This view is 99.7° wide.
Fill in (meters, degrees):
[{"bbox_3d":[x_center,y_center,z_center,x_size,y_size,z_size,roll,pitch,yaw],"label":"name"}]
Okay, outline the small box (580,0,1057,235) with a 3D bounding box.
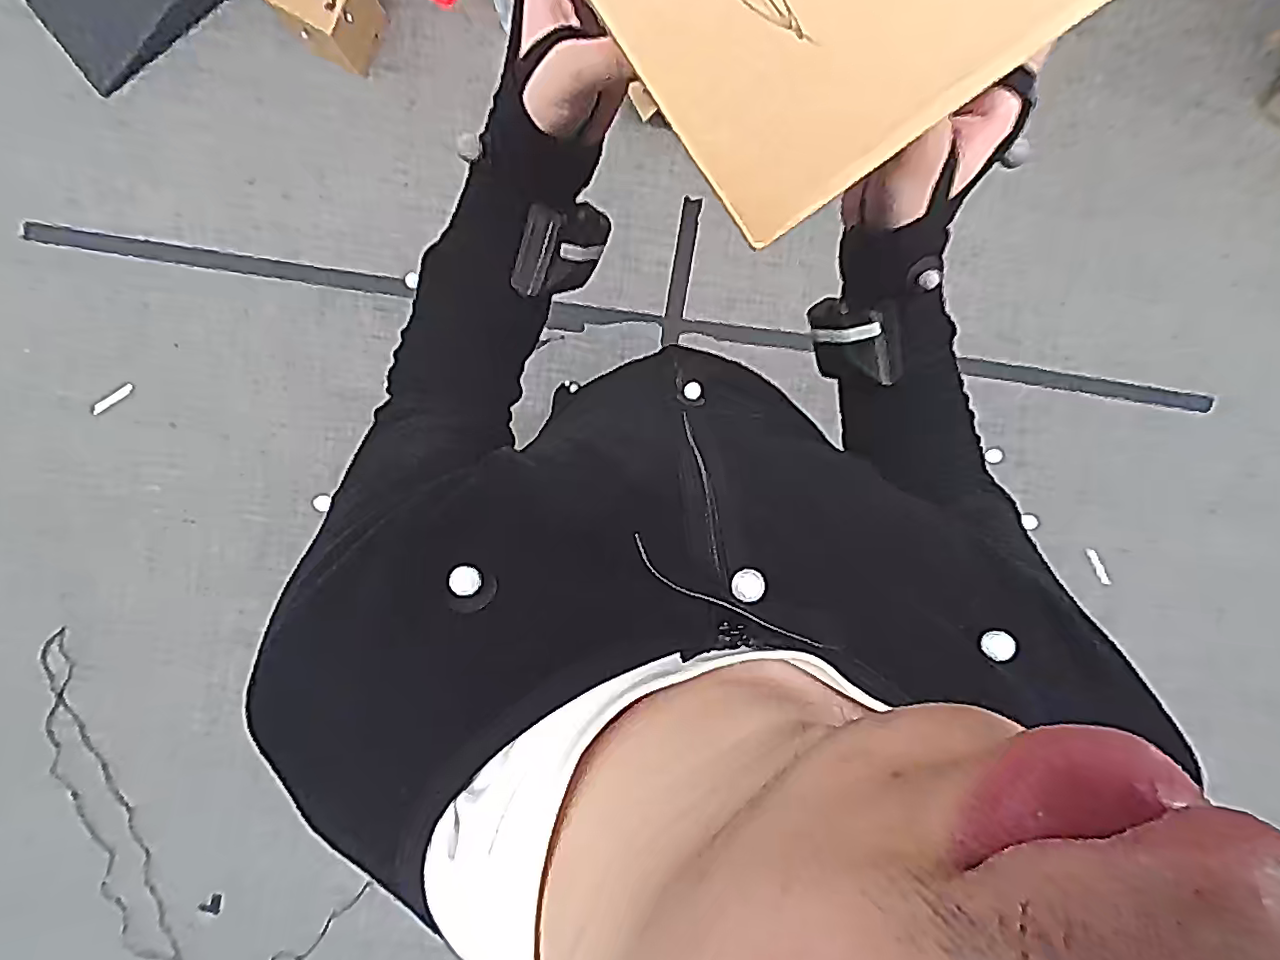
[{"bbox_3d":[0.067,-0.235,0.202,0.179,0.176,0.168,-30,116,30],"label":"small box"}]
